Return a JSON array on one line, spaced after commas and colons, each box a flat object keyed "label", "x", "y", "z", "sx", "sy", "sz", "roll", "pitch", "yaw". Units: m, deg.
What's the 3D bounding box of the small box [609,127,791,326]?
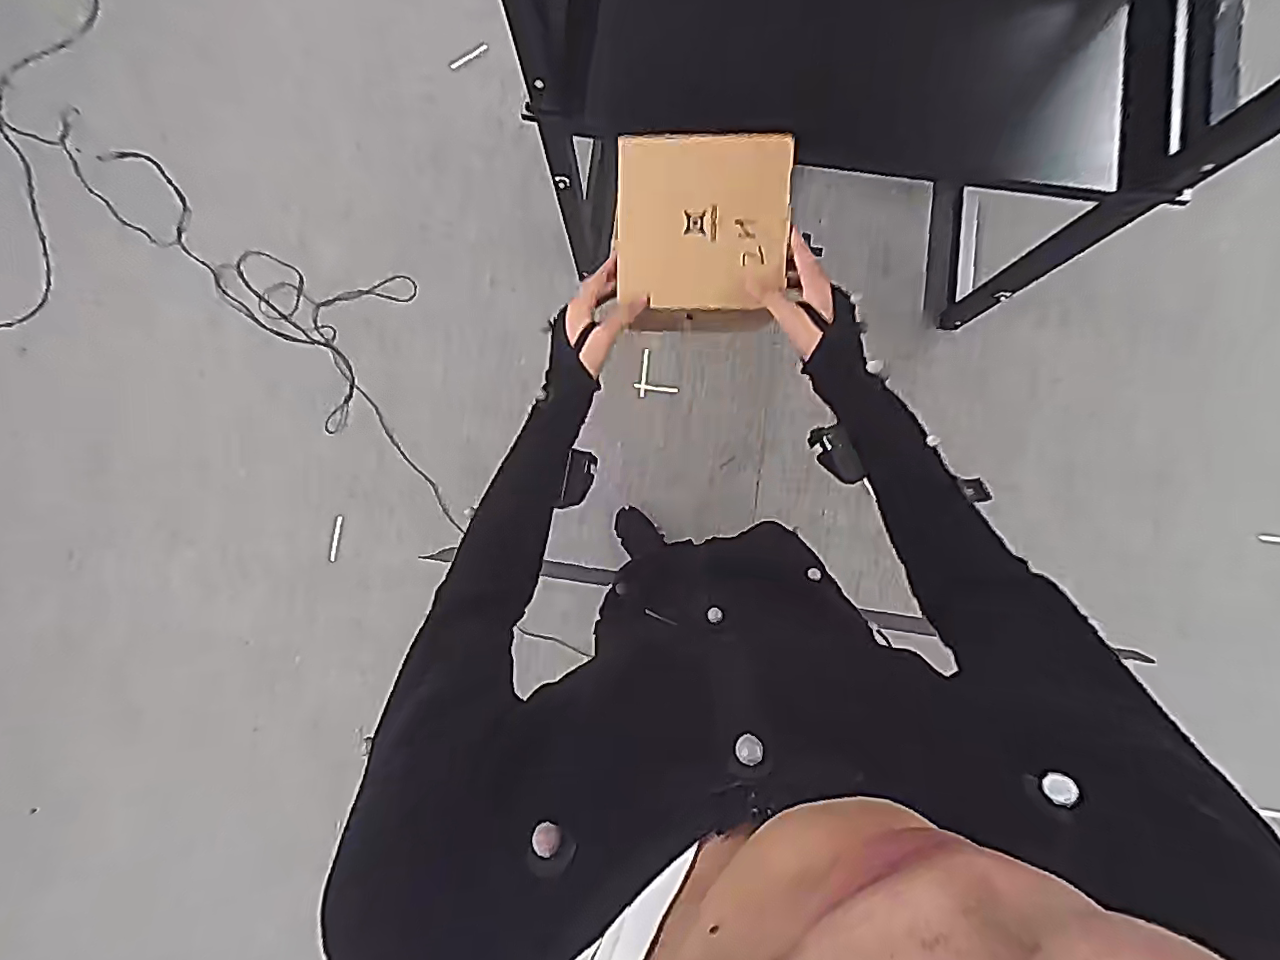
[{"label": "small box", "x": 0.062, "y": -0.270, "z": 0.612, "sx": 0.179, "sy": 0.176, "sz": 0.168, "roll": 1, "pitch": 99, "yaw": 2}]
